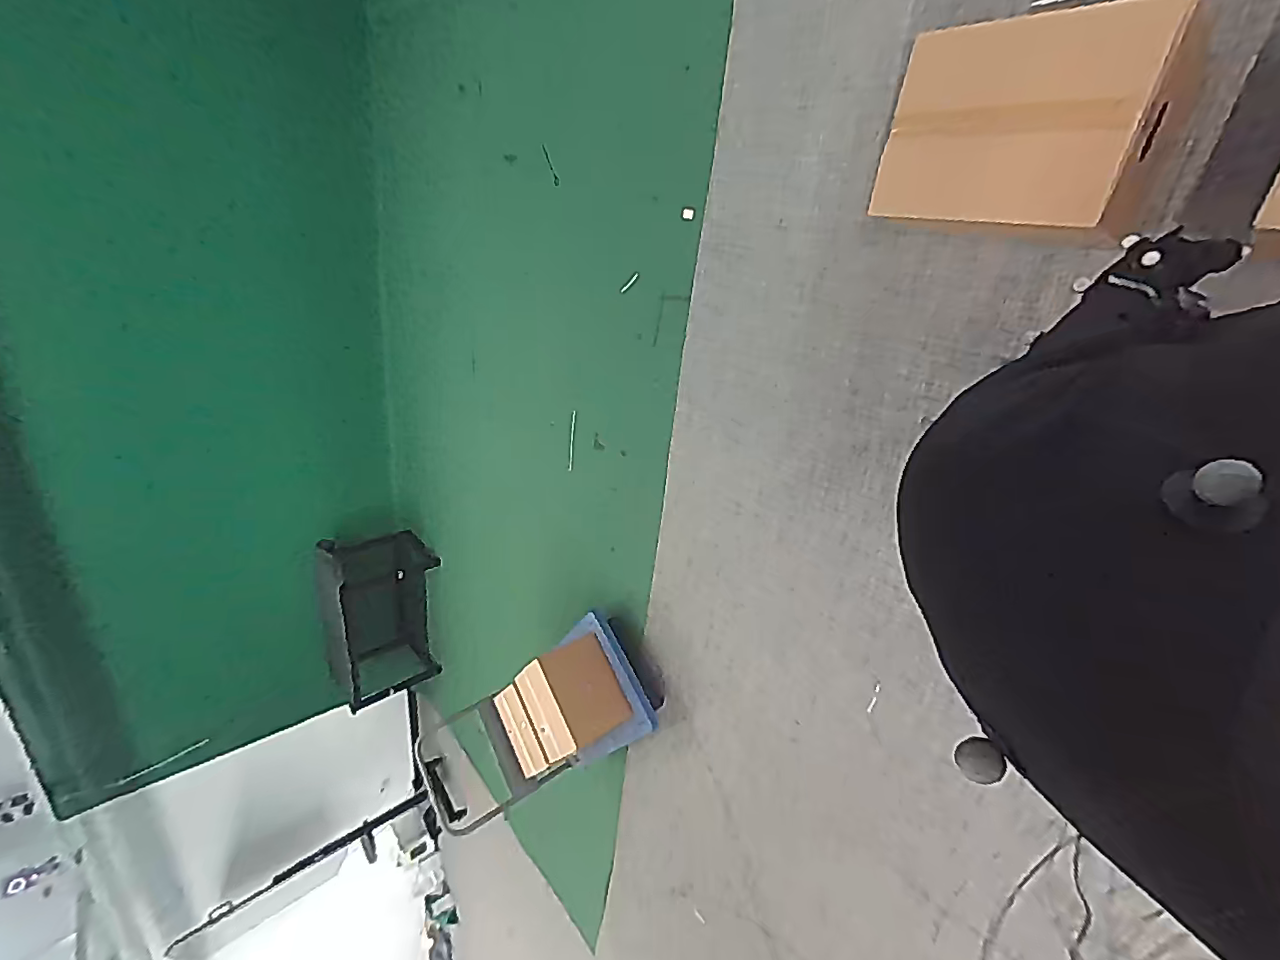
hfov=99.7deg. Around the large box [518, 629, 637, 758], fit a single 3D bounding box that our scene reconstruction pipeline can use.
[{"bbox_3d":[-0.283,0.946,2.420,0.408,0.320,0.320,59,138,17],"label":"large box"}]
